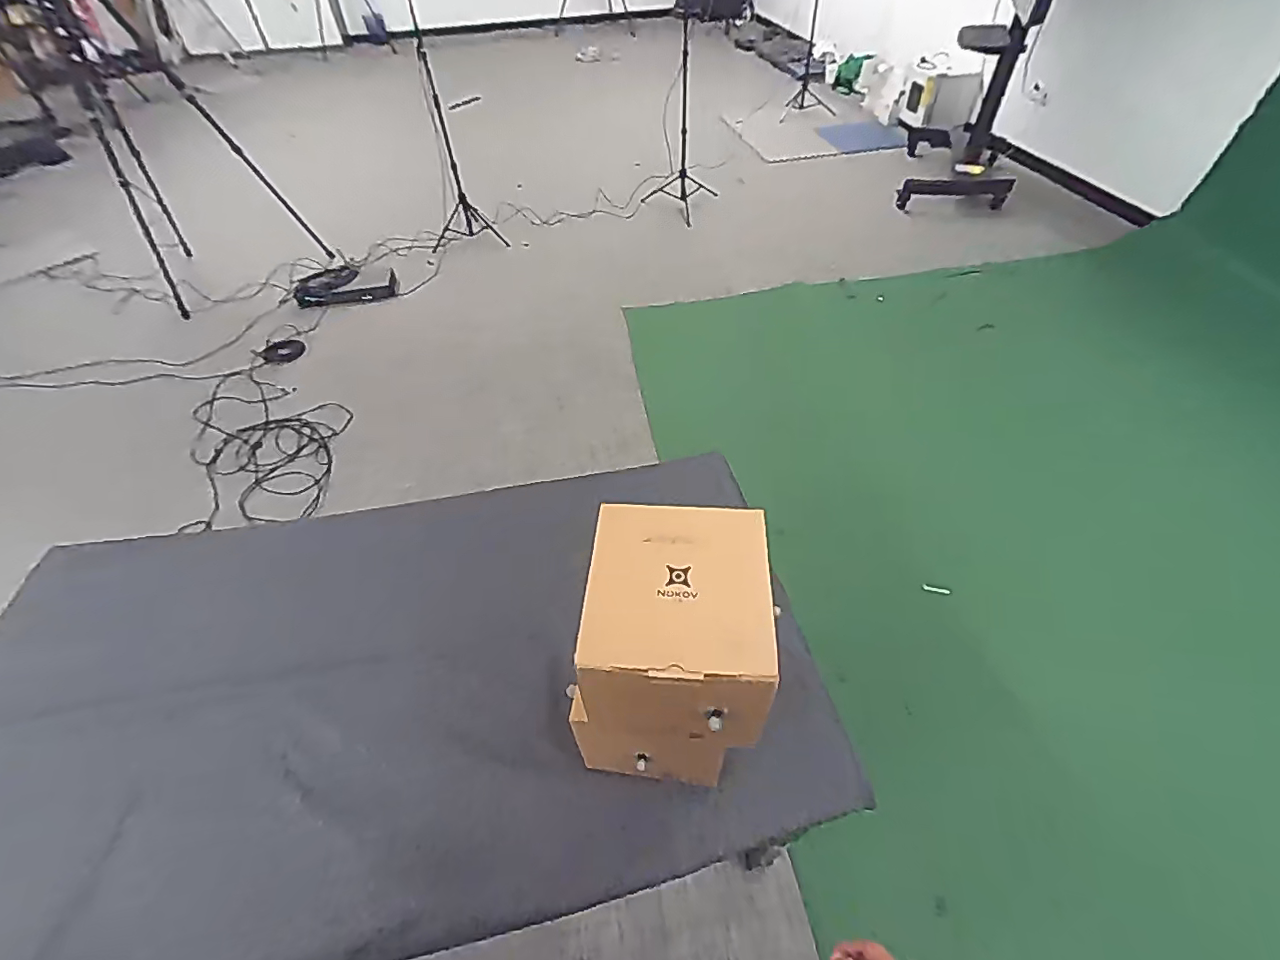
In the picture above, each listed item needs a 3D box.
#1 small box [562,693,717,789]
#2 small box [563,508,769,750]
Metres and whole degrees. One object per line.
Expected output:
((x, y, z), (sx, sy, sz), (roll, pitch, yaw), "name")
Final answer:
((0.015, 0.253, 0.658), (0.168, 0.176, 0.179), (5, 47, 7), "small box")
((0.028, 0.148, 0.533), (0.168, 0.176, 0.179), (2, 47, 3), "small box")
